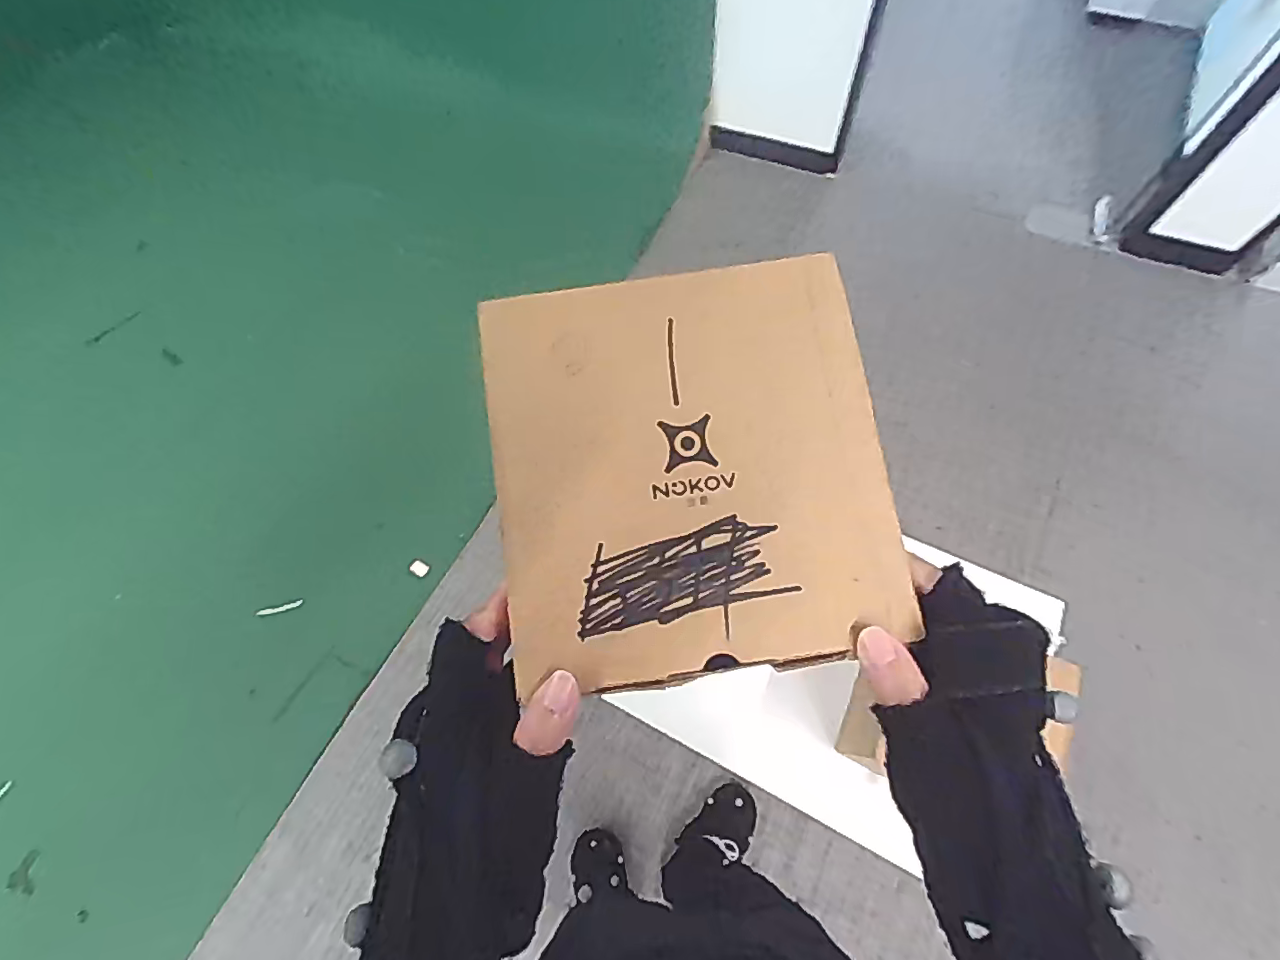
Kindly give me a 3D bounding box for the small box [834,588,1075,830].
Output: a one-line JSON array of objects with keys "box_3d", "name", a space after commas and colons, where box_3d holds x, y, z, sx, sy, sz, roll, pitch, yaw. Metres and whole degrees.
[{"box_3d": [0.338, 0.248, 0.612, 0.168, 0.176, 0.179, 22, 72, 14], "name": "small box"}]
